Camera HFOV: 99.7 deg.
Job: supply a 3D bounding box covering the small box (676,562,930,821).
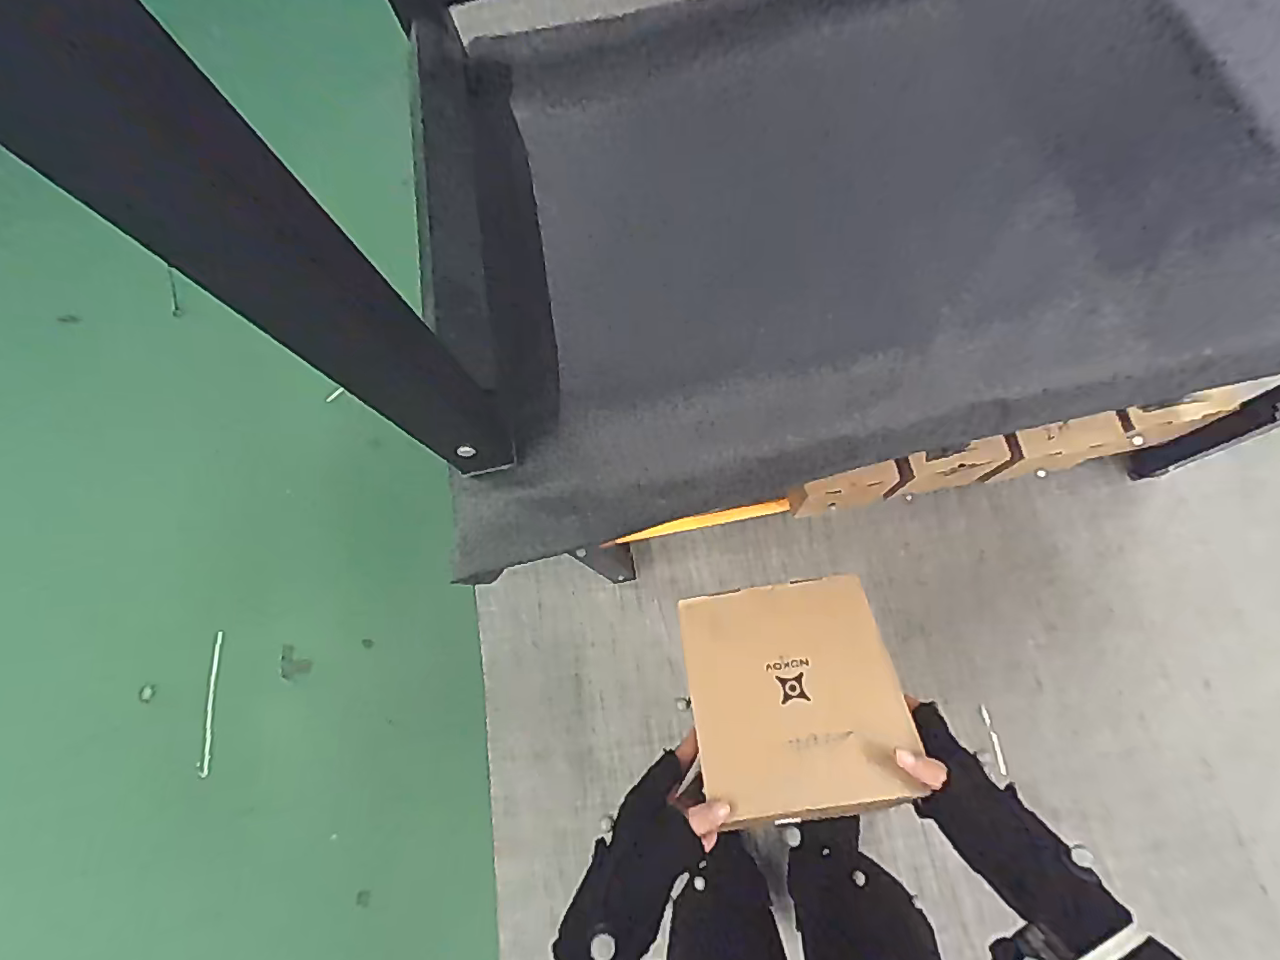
[{"bbox_3d":[0.129,0.201,0.503,0.168,0.176,0.179,-10,55,3],"label":"small box"}]
